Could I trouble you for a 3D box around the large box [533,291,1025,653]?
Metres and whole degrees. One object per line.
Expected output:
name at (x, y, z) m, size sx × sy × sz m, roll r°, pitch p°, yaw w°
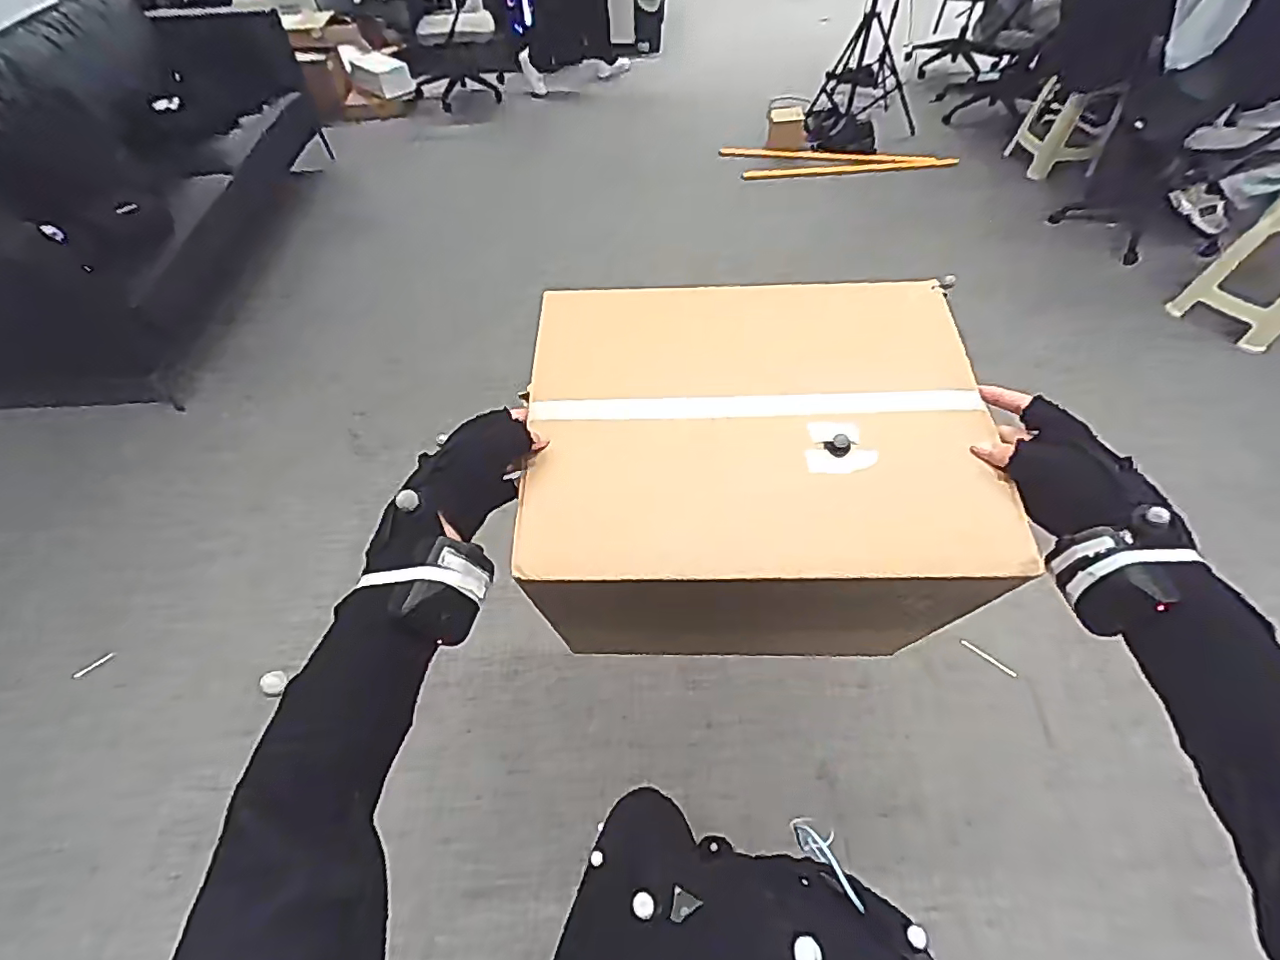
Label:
large box at (0.110, 0.011, 0.632) m, size 0.408 × 0.320 × 0.320 m, roll -1°, pitch 62°, yaw 1°
